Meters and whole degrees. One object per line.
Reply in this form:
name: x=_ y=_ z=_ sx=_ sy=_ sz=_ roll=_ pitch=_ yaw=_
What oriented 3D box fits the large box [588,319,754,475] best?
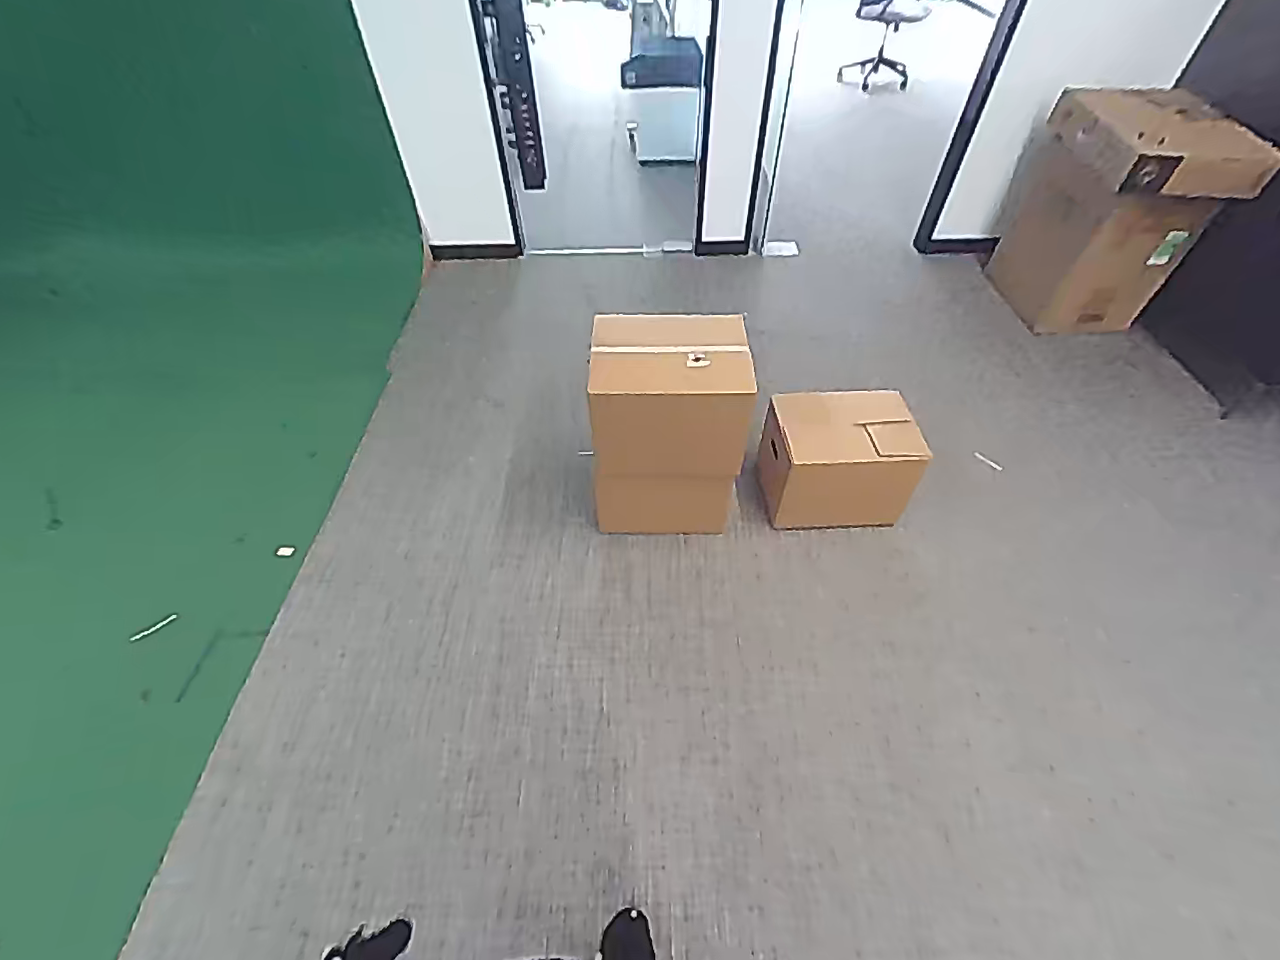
large box: x=0.069 y=-0.222 z=1.481 sx=0.408 sy=0.320 sz=0.320 roll=1 pitch=51 yaw=0
